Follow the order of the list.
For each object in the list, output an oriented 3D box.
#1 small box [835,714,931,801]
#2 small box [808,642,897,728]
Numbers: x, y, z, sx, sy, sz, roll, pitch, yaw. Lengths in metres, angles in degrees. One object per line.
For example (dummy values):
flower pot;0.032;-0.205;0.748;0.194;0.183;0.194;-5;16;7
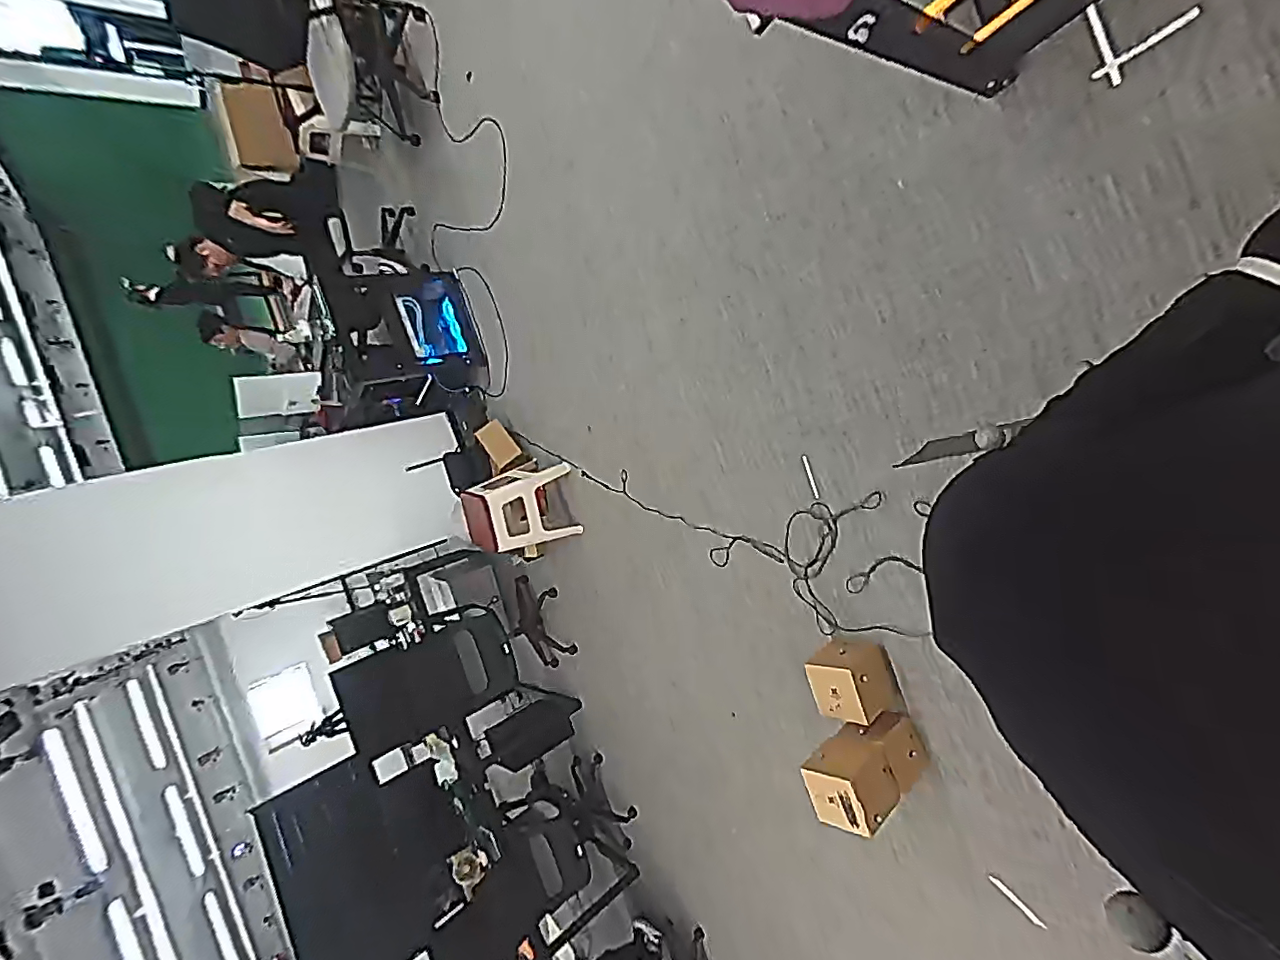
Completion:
small box;0.735;0.827;1.635;0.179;0.176;0.168;-29;83;53
small box;0.646;0.612;1.642;0.168;0.176;0.179;-15;95;54
